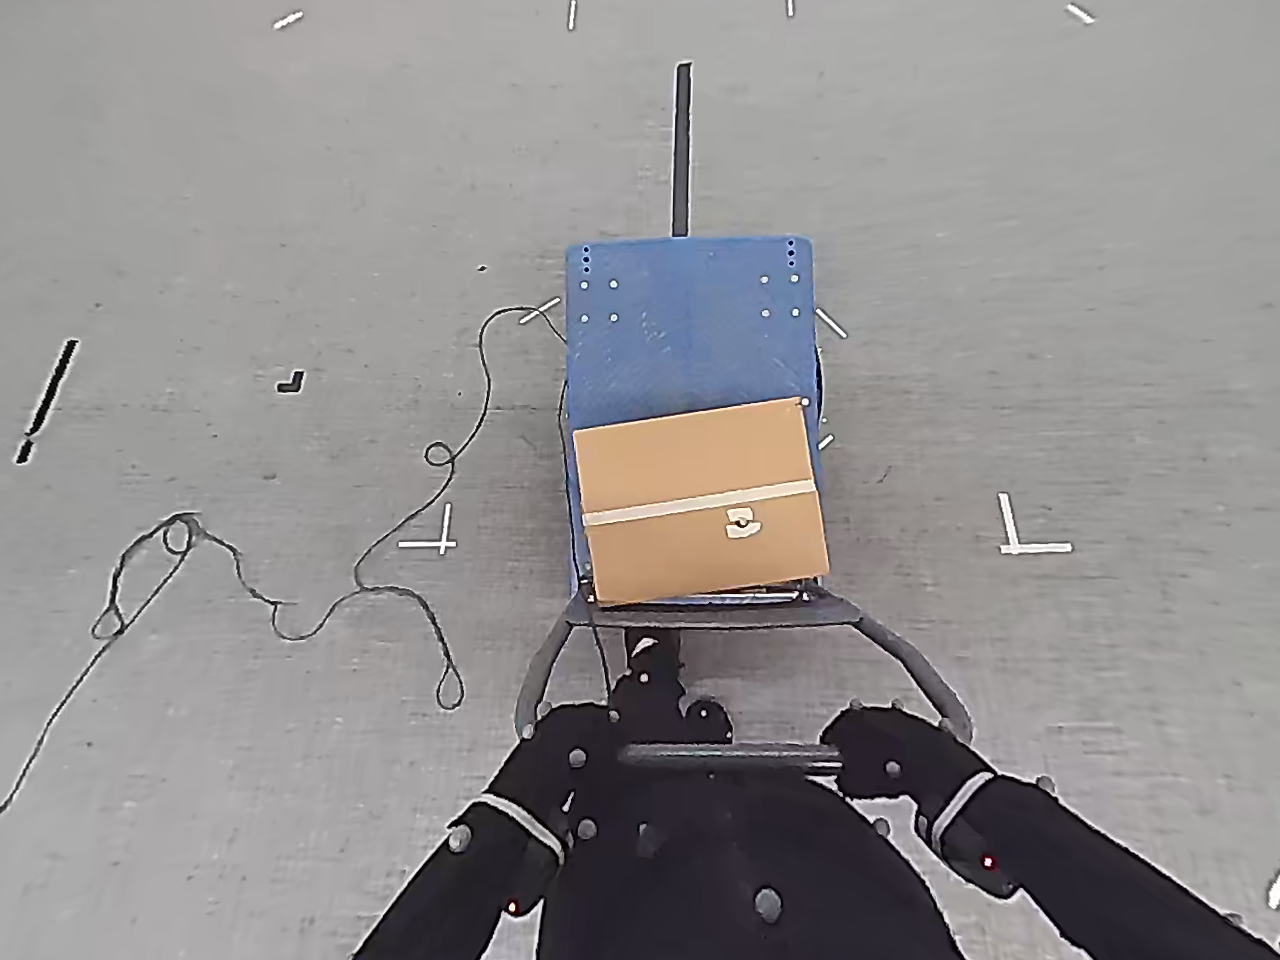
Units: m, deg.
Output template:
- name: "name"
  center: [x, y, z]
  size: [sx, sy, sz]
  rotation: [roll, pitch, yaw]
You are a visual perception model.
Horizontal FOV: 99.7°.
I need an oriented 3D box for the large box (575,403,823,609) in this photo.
- name: "large box"
  center: [0.104, 0.055, 1.107]
  size: [0.408, 0.320, 0.320]
  rotation: [-9, 87, 0]
